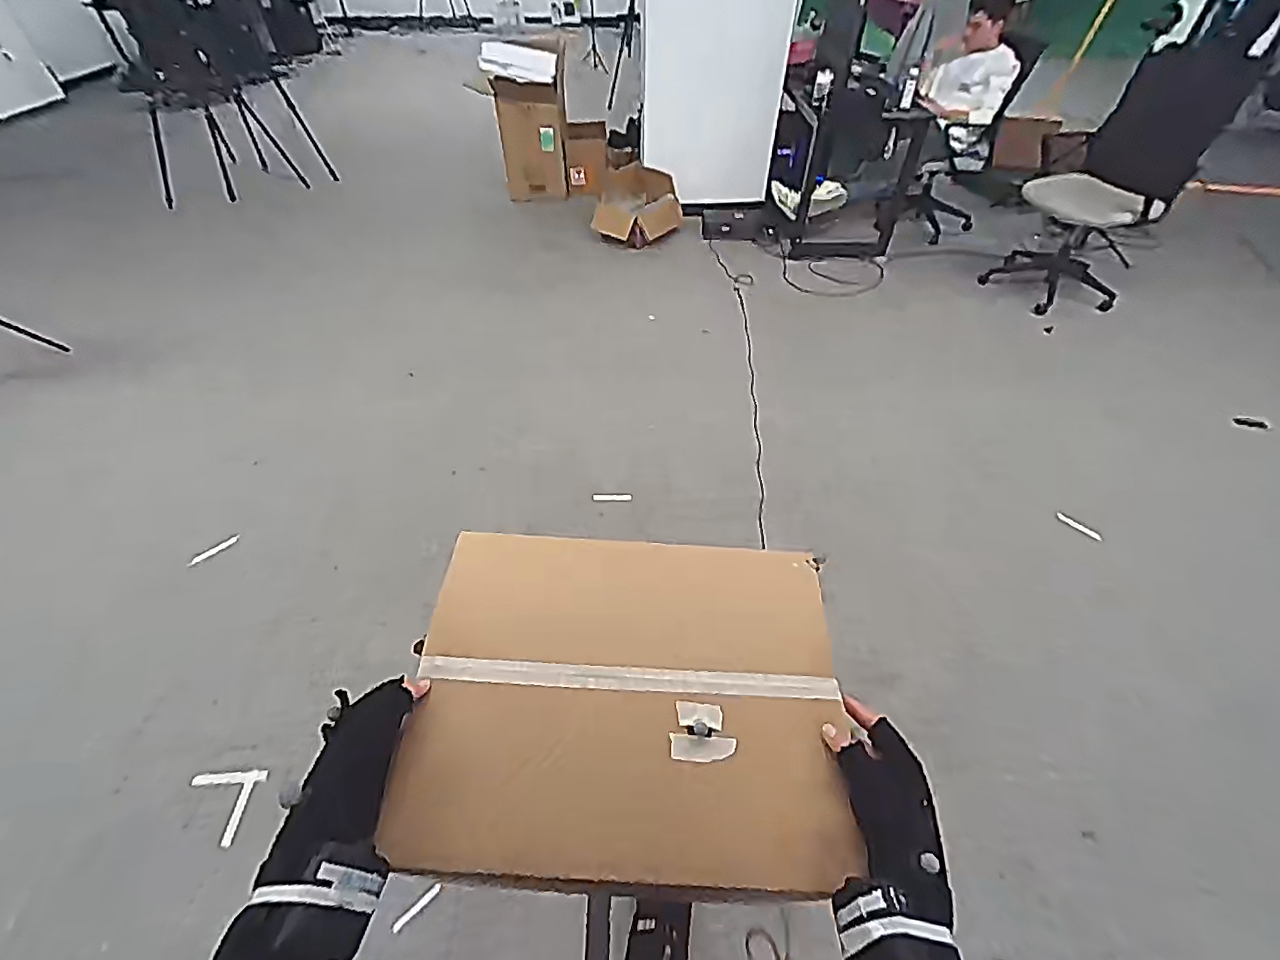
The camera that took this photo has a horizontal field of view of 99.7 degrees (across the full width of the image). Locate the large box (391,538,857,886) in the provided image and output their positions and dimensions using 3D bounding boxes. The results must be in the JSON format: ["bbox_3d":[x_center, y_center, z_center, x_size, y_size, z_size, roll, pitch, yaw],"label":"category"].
[{"bbox_3d":[-0.017,0.291,0.660,0.408,0.320,0.320,4,51,-1],"label":"large box"}]
